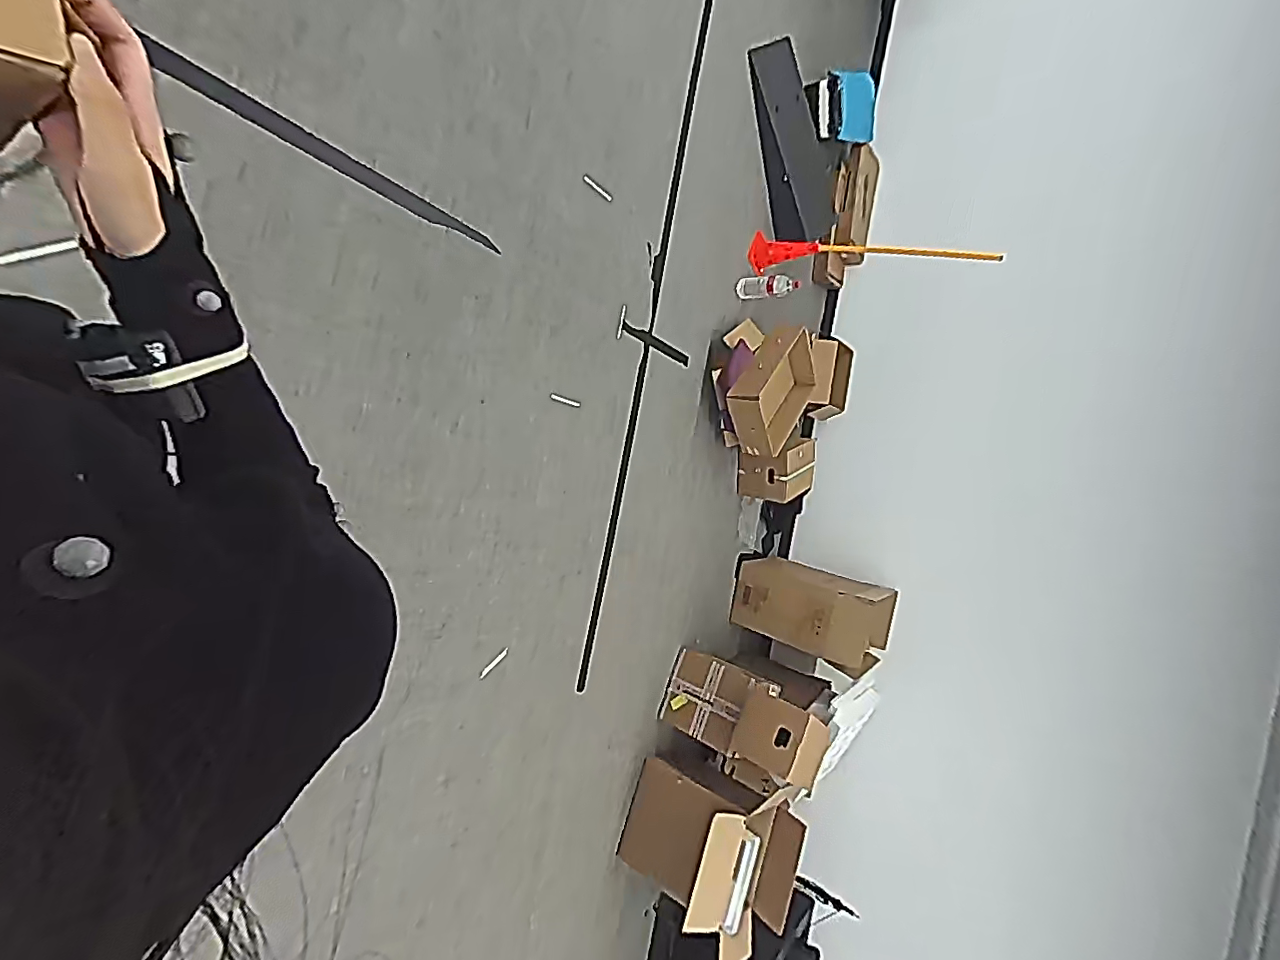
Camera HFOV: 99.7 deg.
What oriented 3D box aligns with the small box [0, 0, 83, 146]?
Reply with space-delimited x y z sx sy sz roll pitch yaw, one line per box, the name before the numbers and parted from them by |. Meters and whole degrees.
small box | -0.380 -0.267 0.223 0.168 0.176 0.179 -19 113 -55
